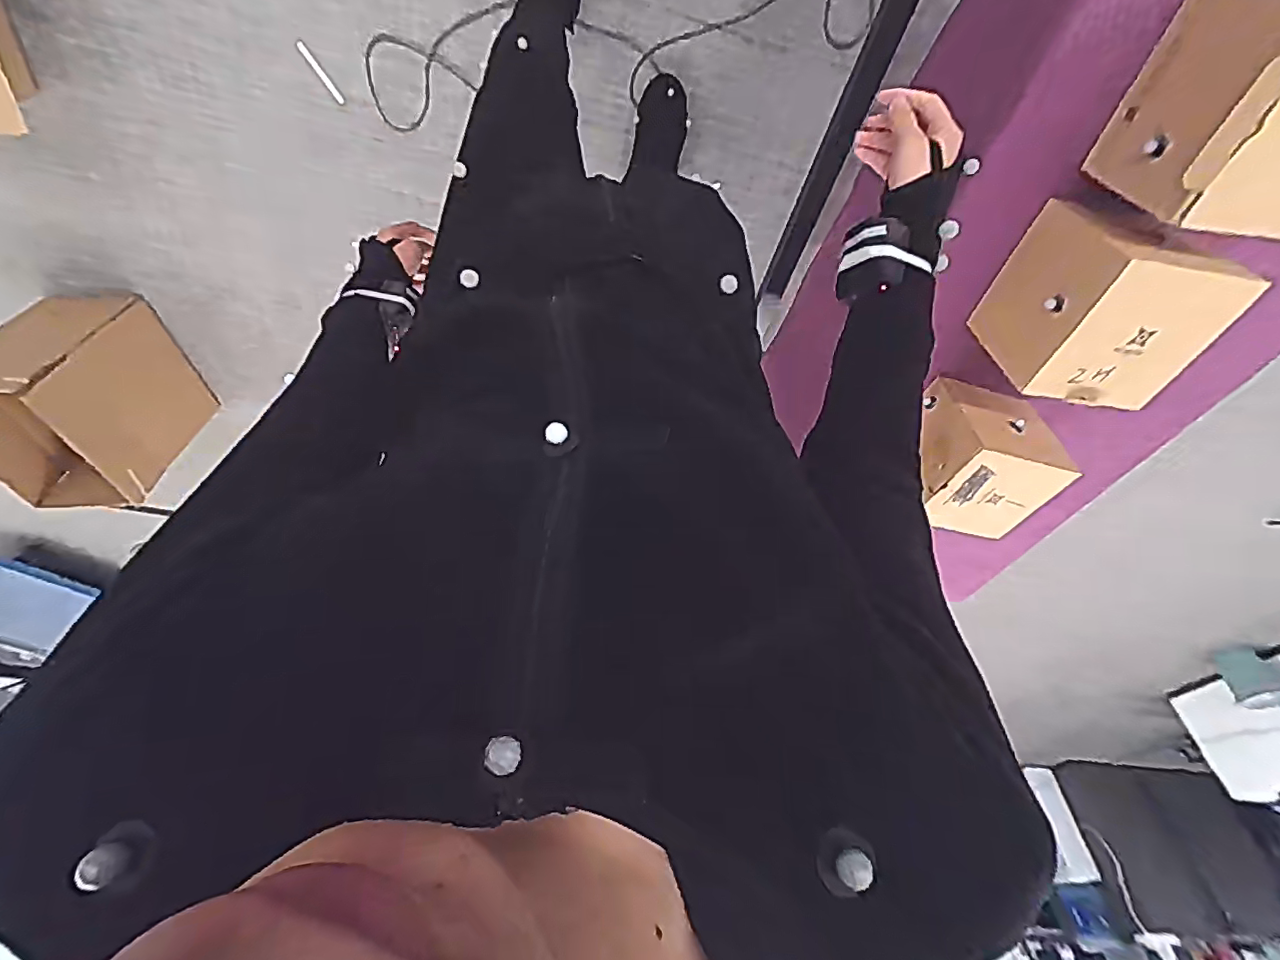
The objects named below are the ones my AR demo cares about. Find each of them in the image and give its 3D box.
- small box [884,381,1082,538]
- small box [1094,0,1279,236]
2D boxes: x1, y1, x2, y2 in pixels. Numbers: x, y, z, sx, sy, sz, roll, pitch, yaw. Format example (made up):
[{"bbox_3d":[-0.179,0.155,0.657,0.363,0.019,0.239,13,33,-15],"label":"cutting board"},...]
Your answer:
[{"bbox_3d":[0.526,-0.035,0.862,0.179,0.176,0.168,11,136,-12],"label":"small box"},{"bbox_3d":[0.607,-0.354,0.520,0.179,0.176,0.168,4,138,-4],"label":"small box"}]
